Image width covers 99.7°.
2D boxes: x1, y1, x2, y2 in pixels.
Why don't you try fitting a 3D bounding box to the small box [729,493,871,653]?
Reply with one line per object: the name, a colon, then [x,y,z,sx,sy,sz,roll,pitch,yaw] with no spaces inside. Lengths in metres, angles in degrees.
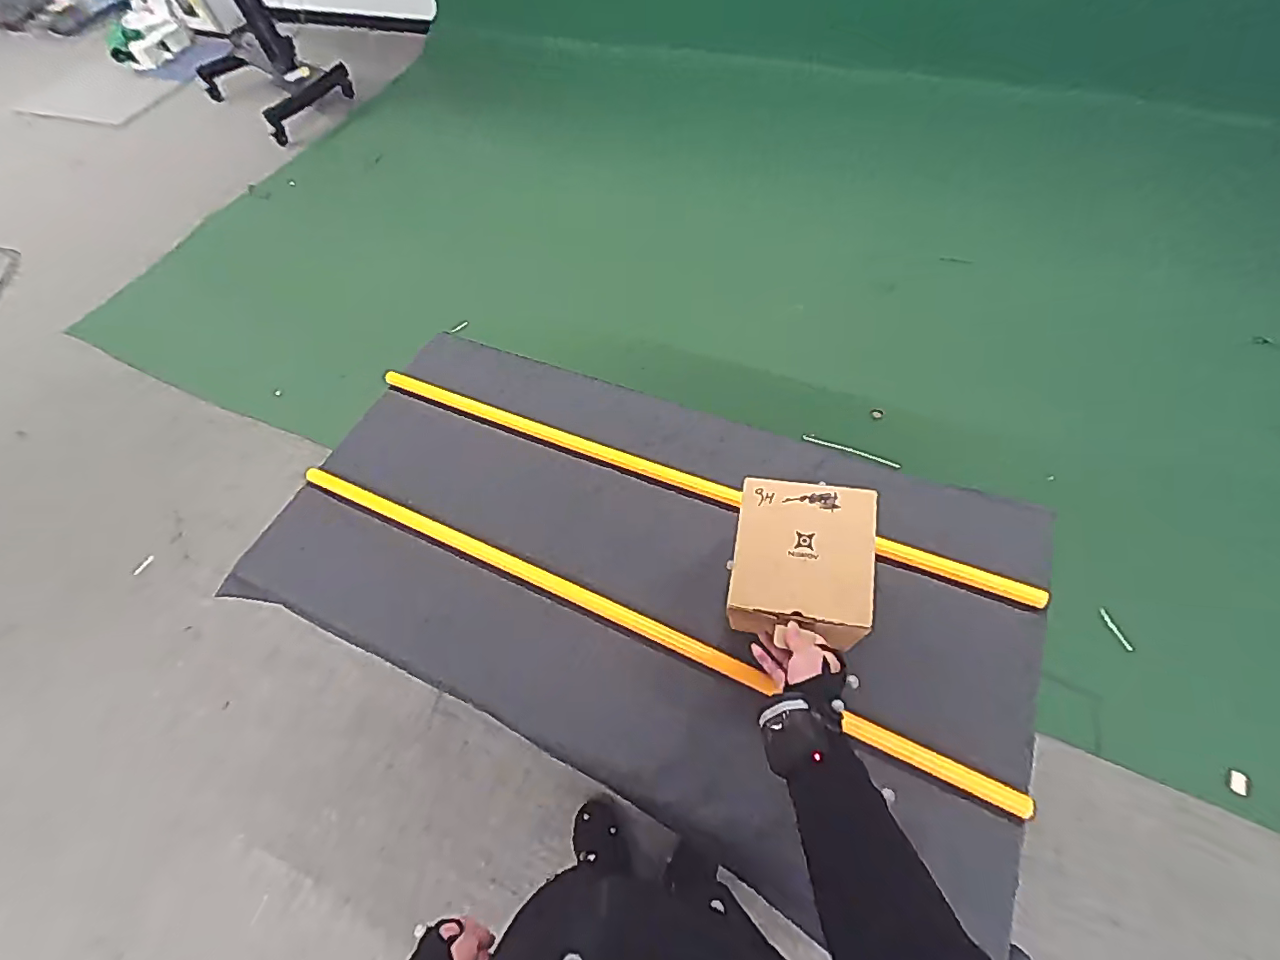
small box: [0.217,0.131,0.738,0.168,0.176,0.179,2,65,15]
